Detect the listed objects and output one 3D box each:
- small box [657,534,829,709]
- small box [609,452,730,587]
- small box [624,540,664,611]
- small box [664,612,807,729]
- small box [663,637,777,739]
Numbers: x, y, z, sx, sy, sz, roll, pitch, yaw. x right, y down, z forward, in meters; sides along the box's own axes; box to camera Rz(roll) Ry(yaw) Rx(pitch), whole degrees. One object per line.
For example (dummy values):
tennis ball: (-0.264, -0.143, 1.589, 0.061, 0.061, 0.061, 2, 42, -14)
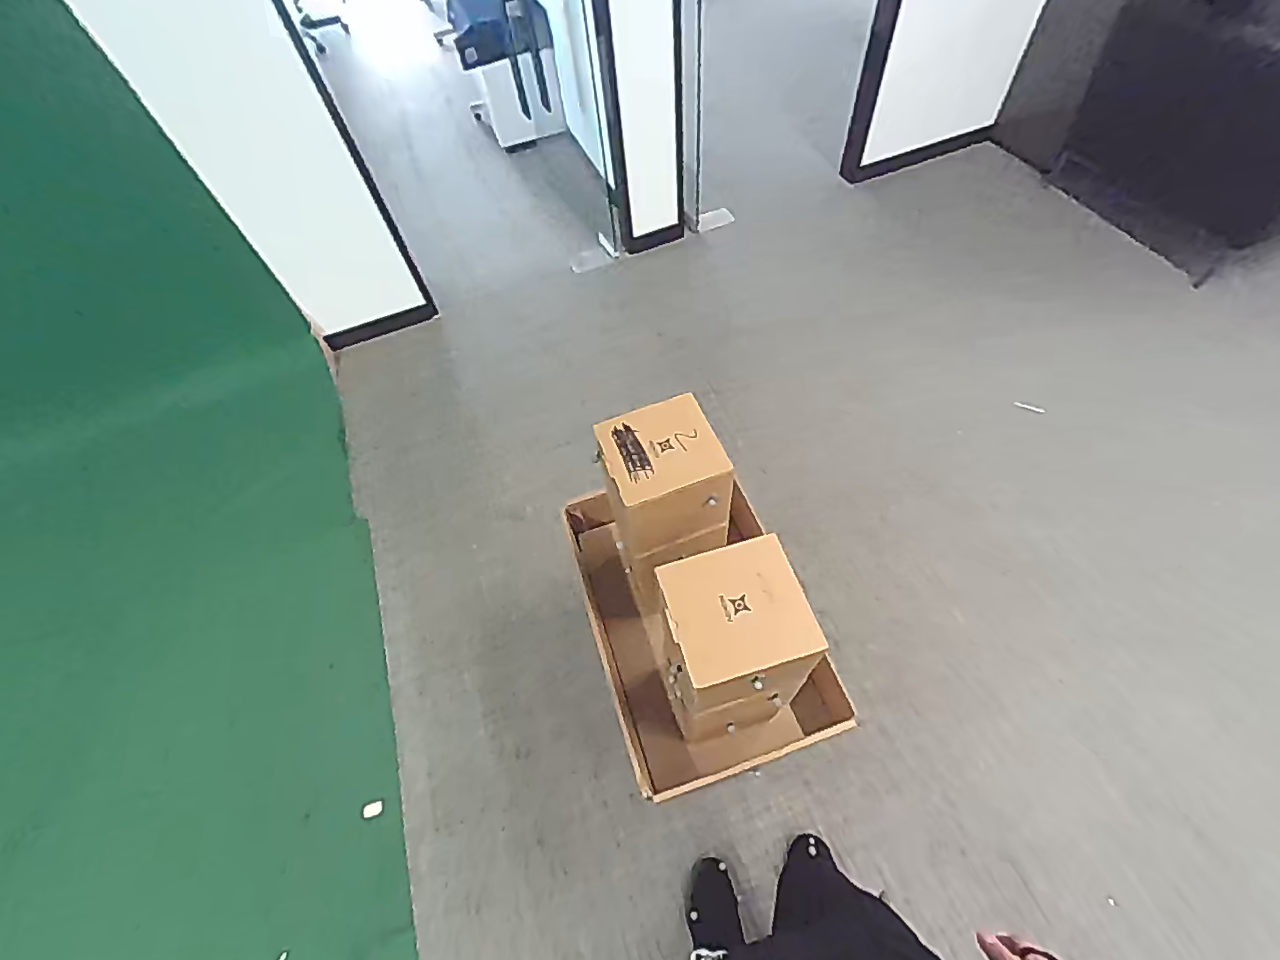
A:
small box: (0.131, 0.202, 0.748, 0.179, 0.176, 0.168, -15, 58, -4)
small box: (0.055, 0.079, 1.028, 0.179, 0.176, 0.168, -20, 59, -6)
small box: (0.067, 0.161, 1.170, 0.179, 0.176, 0.168, -18, 59, -5)
small box: (0.146, 0.290, 0.884, 0.179, 0.176, 0.168, -16, 57, -4)
small box: (0.155, 0.375, 1.025, 0.179, 0.176, 0.168, -17, 58, -5)
